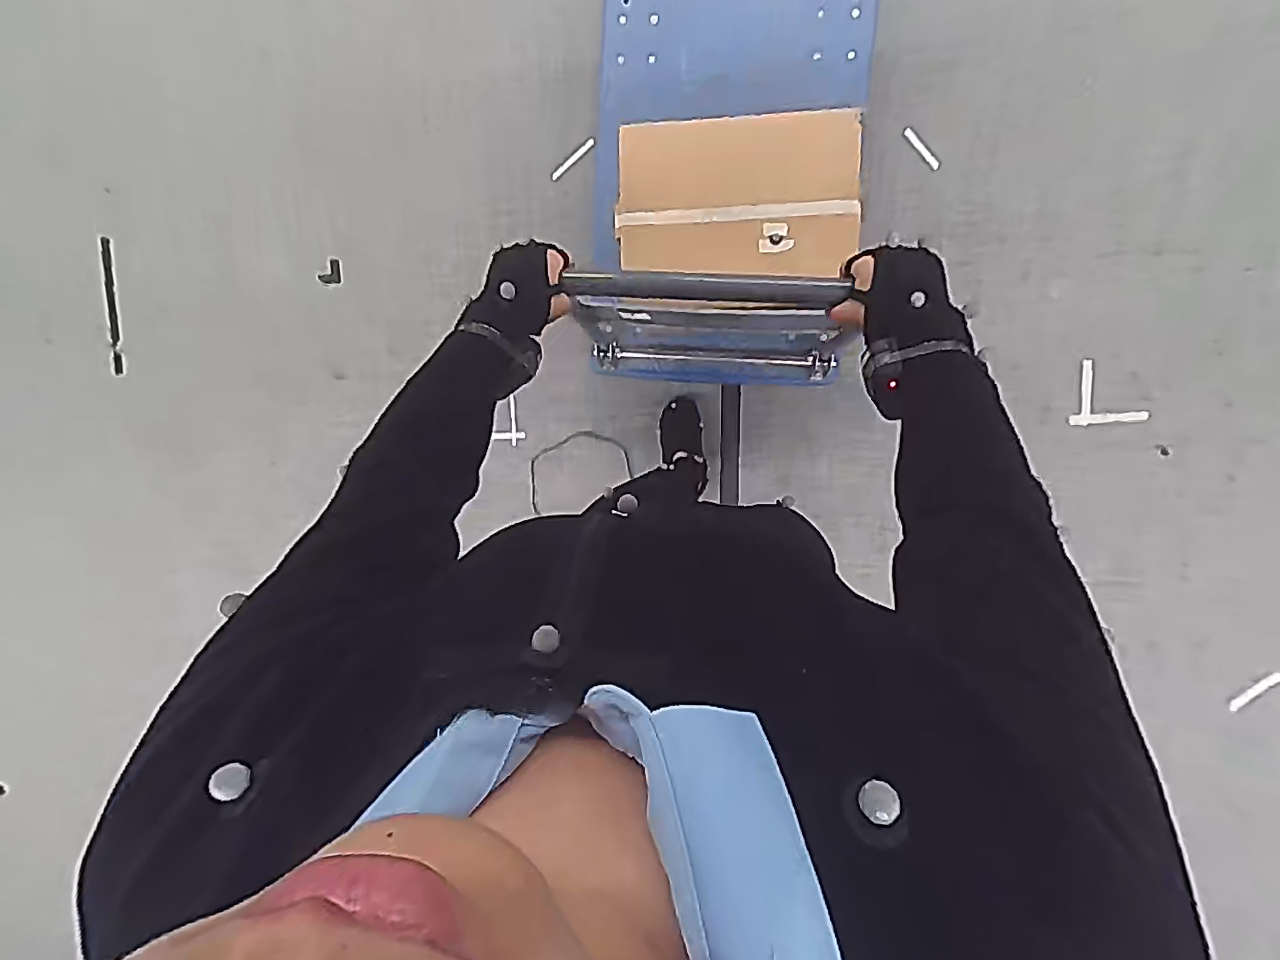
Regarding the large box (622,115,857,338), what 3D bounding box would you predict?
[{"bbox_3d":[0.182,-0.471,1.084,0.408,0.320,0.320,0,98,6],"label":"large box"}]
